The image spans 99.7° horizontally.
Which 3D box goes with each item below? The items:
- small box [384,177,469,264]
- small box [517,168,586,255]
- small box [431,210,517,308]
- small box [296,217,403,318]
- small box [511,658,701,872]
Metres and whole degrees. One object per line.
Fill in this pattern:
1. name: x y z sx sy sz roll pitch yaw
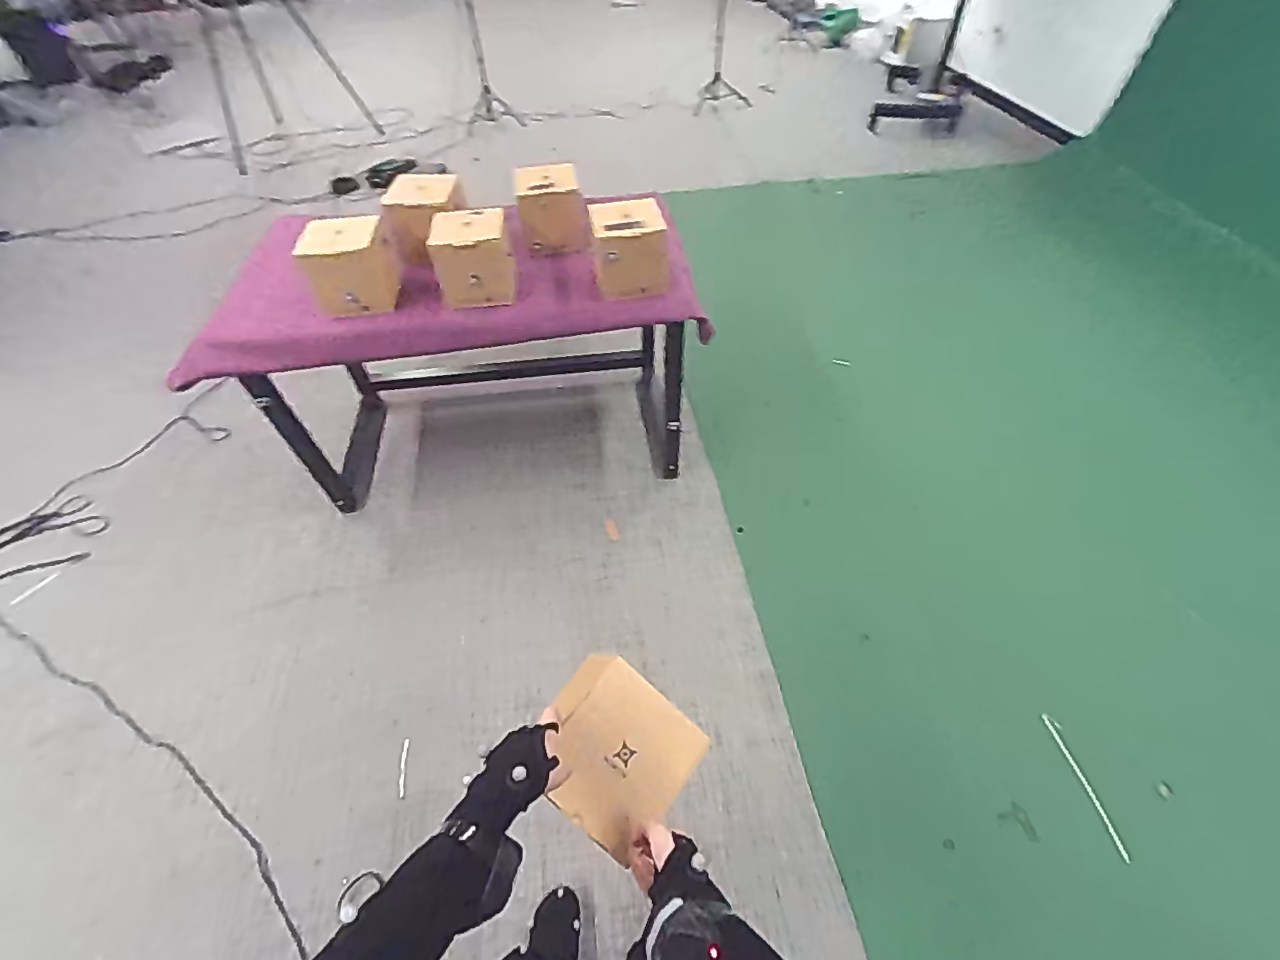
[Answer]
1. small box: -0.568 -0.710 1.487 0.168 0.176 0.179 2 51 2
2. small box: -0.245 -0.743 1.507 0.168 0.176 0.179 -8 50 -5
3. small box: -0.404 -0.544 1.345 0.168 0.176 0.179 -6 50 -4
4. small box: -0.702 -0.522 1.332 0.168 0.176 0.179 -7 50 -4
5. small box: -0.055 0.357 0.720 0.168 0.176 0.179 42 66 -1
